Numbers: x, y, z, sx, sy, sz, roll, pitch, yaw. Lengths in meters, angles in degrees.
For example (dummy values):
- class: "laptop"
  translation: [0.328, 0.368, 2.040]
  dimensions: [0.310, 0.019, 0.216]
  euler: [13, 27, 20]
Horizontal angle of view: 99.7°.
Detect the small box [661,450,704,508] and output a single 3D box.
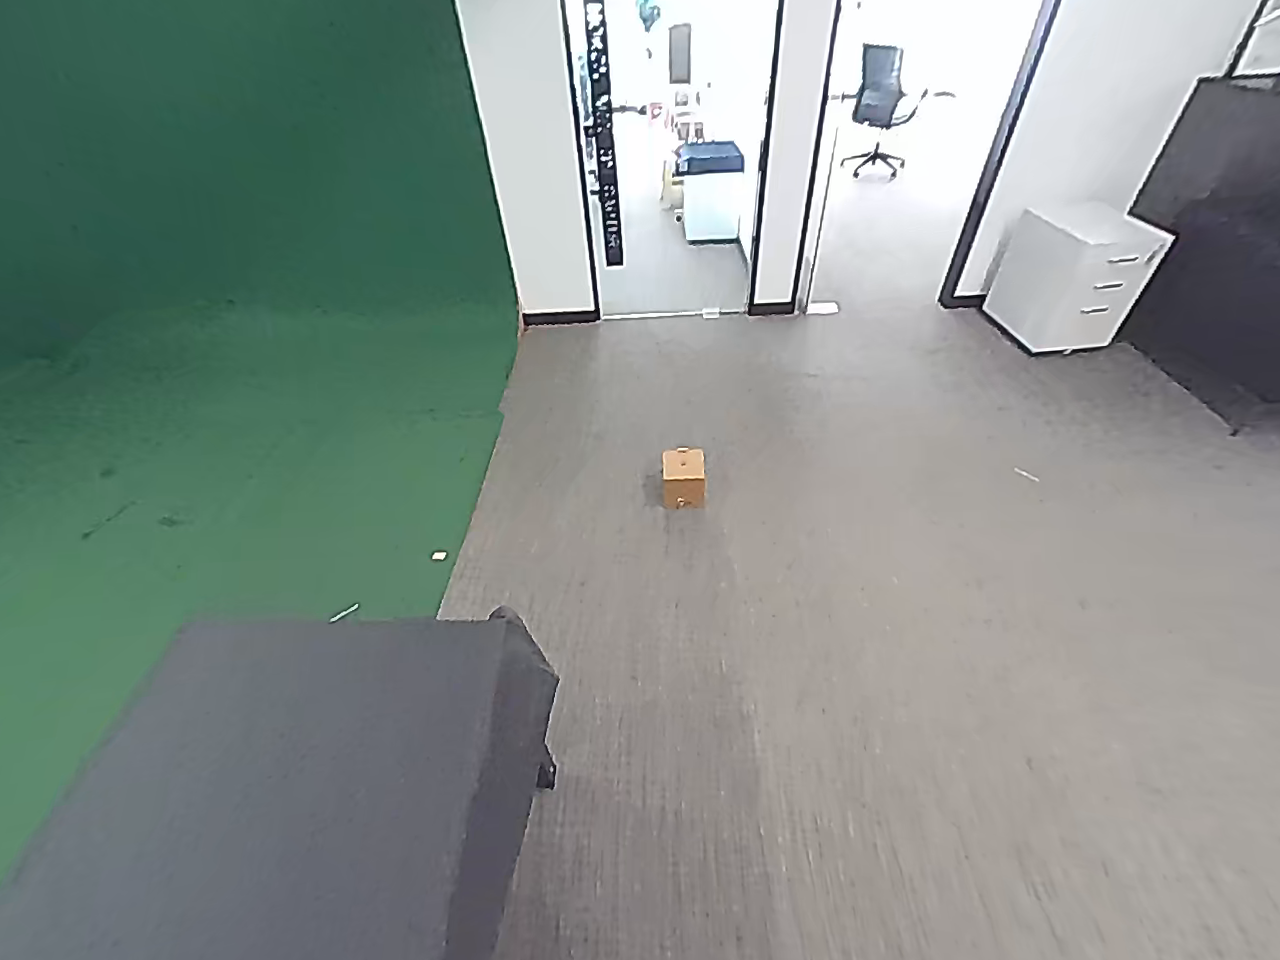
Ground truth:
- class: "small box"
  translation: [0.173, -0.005, 2.183]
  dimensions: [0.168, 0.176, 0.179]
  euler: [-1, 43, 6]
